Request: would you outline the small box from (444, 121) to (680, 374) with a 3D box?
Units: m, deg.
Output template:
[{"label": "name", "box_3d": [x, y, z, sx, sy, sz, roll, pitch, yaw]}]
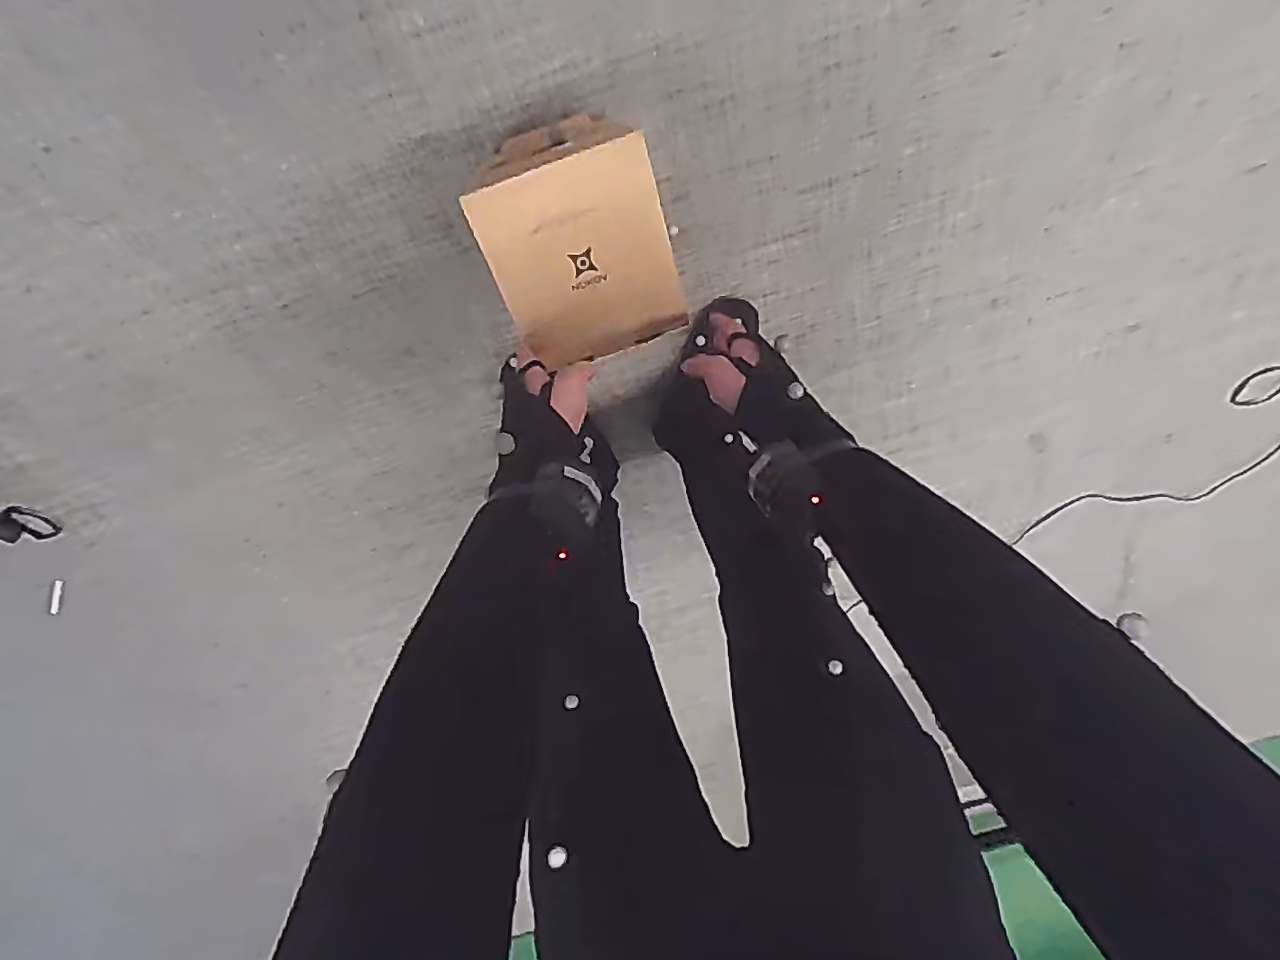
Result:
[{"label": "small box", "box_3d": [-0.071, -0.240, 0.551, 0.168, 0.176, 0.179, -20, 125, 3]}]
